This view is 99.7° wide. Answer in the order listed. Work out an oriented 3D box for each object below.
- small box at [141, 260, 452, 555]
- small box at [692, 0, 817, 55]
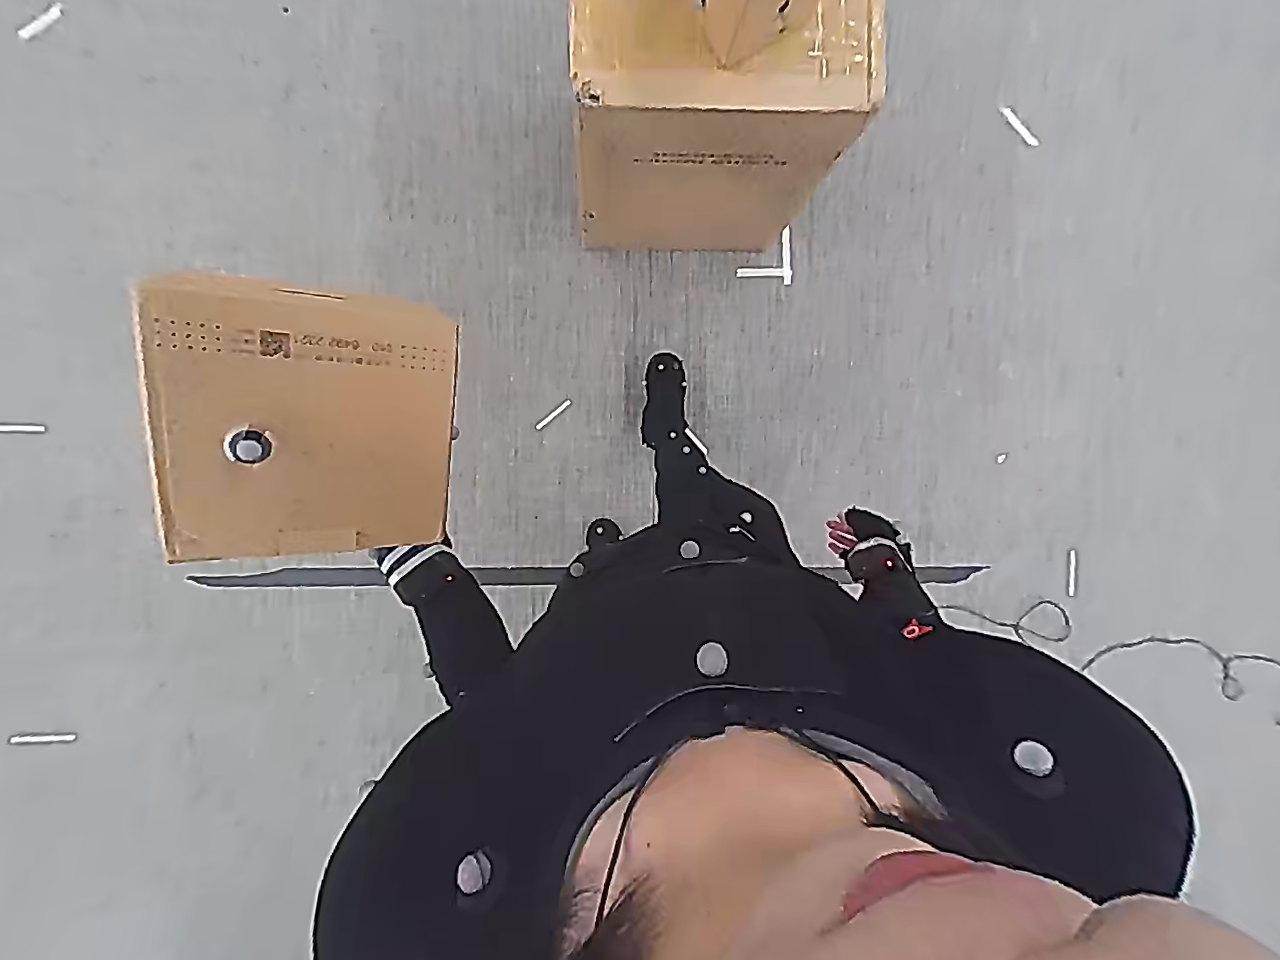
[{"bbox_3d":[-0.245,-0.064,0.408,0.168,0.179,0.176,-1,112,-32],"label":"small box"},{"bbox_3d":[0.173,-0.778,0.791,0.168,0.176,0.179,-31,95,-2],"label":"small box"}]
